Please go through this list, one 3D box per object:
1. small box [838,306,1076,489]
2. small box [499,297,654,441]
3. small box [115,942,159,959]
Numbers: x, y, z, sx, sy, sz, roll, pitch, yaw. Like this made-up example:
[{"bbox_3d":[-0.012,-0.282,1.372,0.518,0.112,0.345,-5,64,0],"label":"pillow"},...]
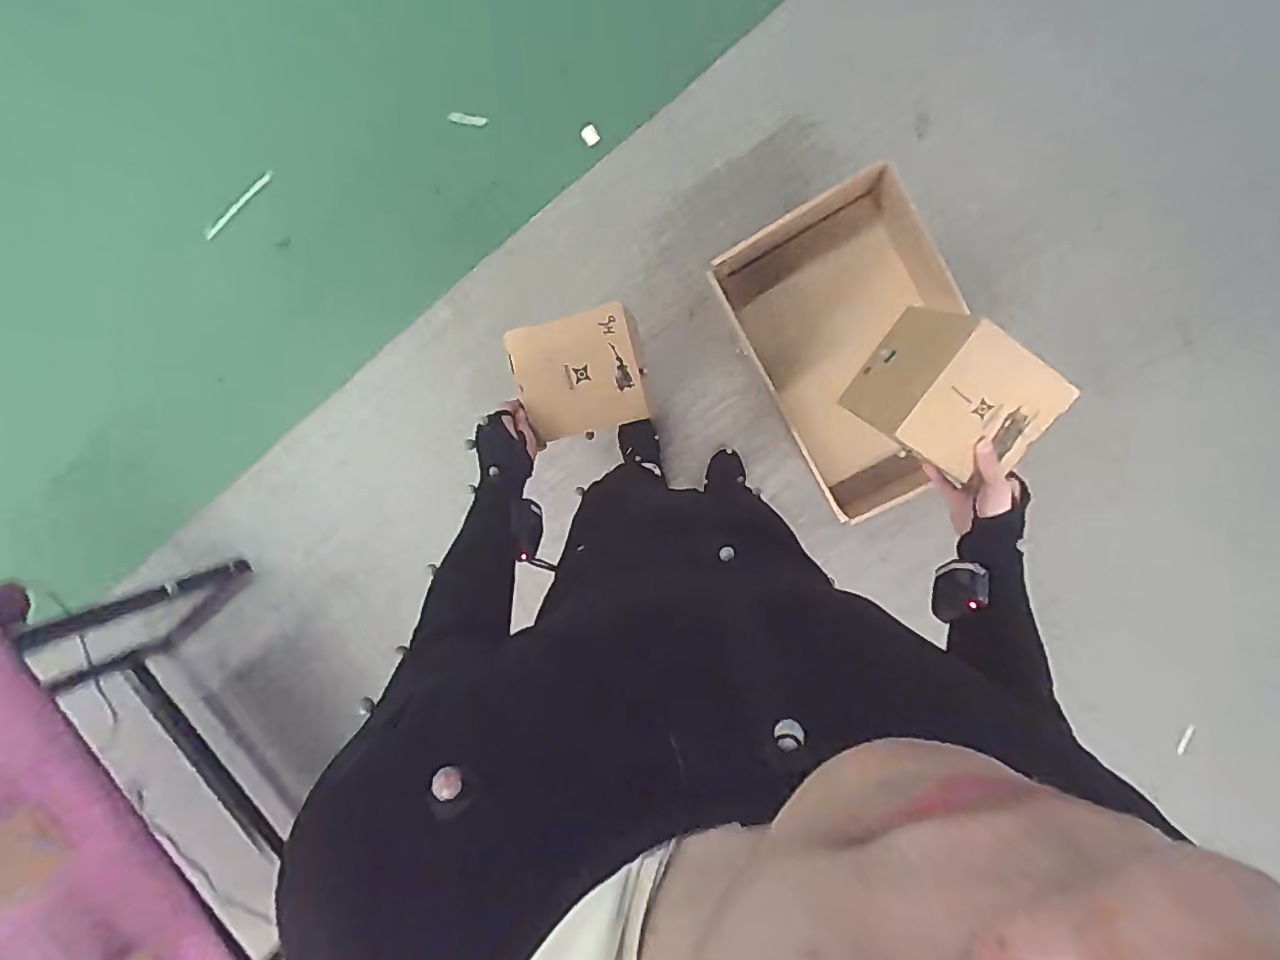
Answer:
[{"bbox_3d":[0.408,-0.120,0.727,0.179,0.176,0.168,28,107,-13],"label":"small box"},{"bbox_3d":[-0.086,-0.163,0.826,0.179,0.176,0.168,-13,98,9],"label":"small box"},{"bbox_3d":[-1.172,1.183,1.183,0.179,0.176,0.168,-40,90,12],"label":"small box"}]
